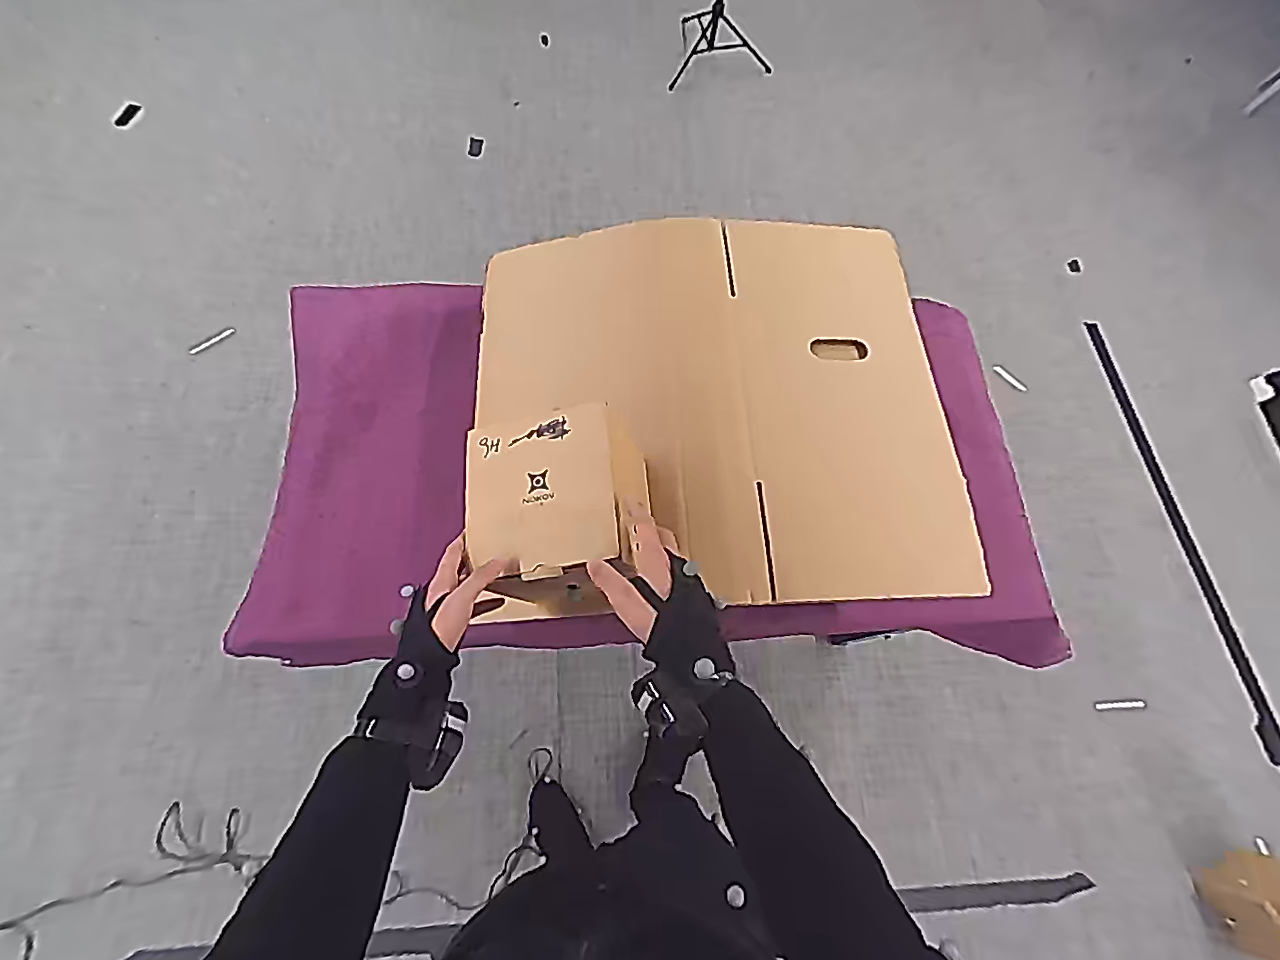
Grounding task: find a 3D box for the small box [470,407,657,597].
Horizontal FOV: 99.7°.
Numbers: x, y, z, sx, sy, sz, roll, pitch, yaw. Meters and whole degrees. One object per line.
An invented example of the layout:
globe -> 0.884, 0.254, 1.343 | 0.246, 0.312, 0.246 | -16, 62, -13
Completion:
small box -> -0.082, 0.039, 0.637 | 0.168, 0.176, 0.179 | -10, 69, 11
